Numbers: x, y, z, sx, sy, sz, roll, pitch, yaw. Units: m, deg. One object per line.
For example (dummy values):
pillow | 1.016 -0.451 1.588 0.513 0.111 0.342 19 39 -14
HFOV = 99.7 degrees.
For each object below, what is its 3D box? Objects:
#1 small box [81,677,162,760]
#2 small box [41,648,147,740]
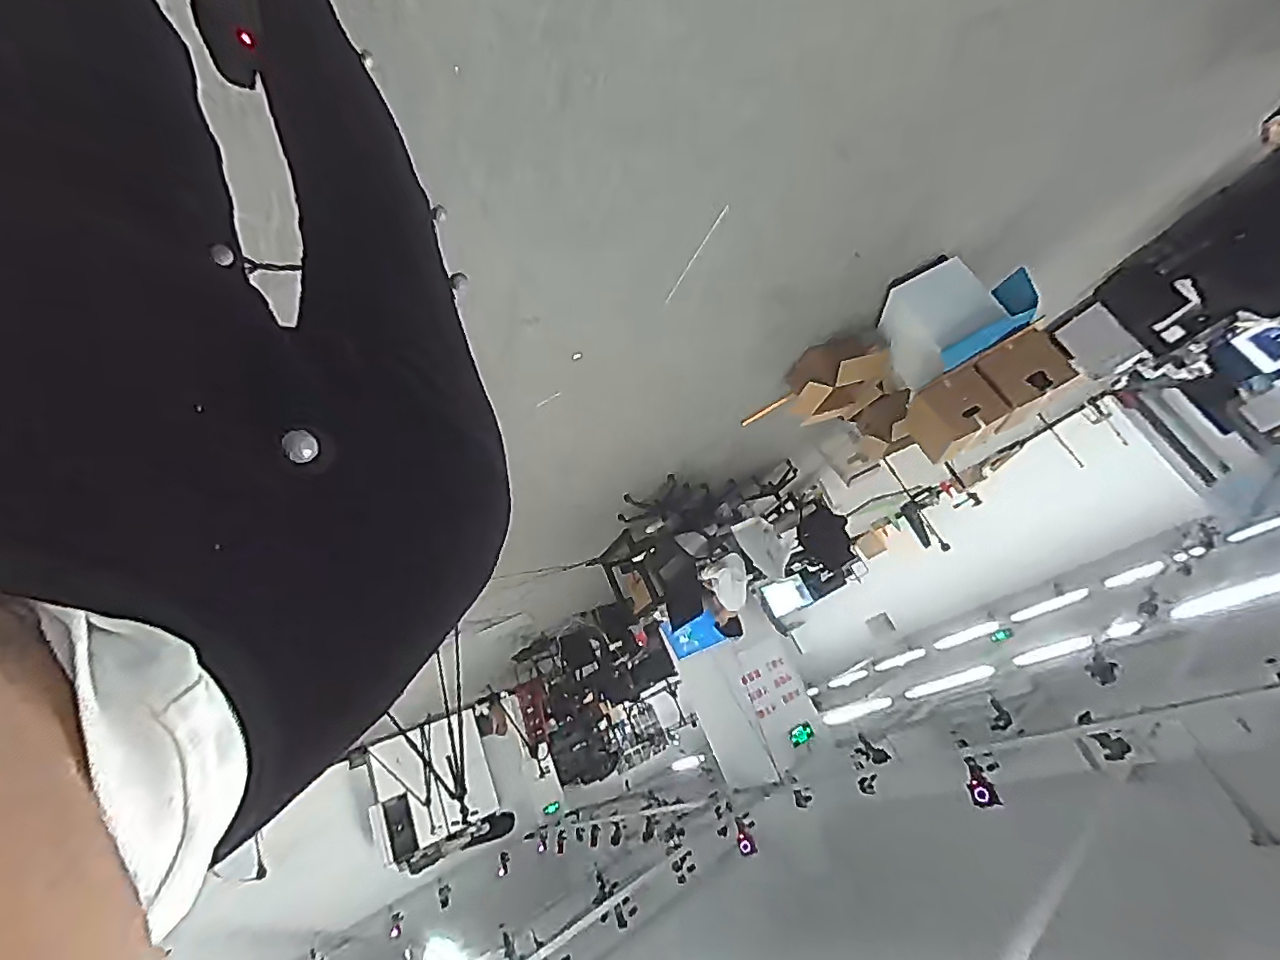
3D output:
small box | -1.576 0.717 1.644 0.168 0.176 0.179 -7 152 -39
small box | -1.437 0.562 1.431 0.168 0.176 0.179 -10 155 -35
